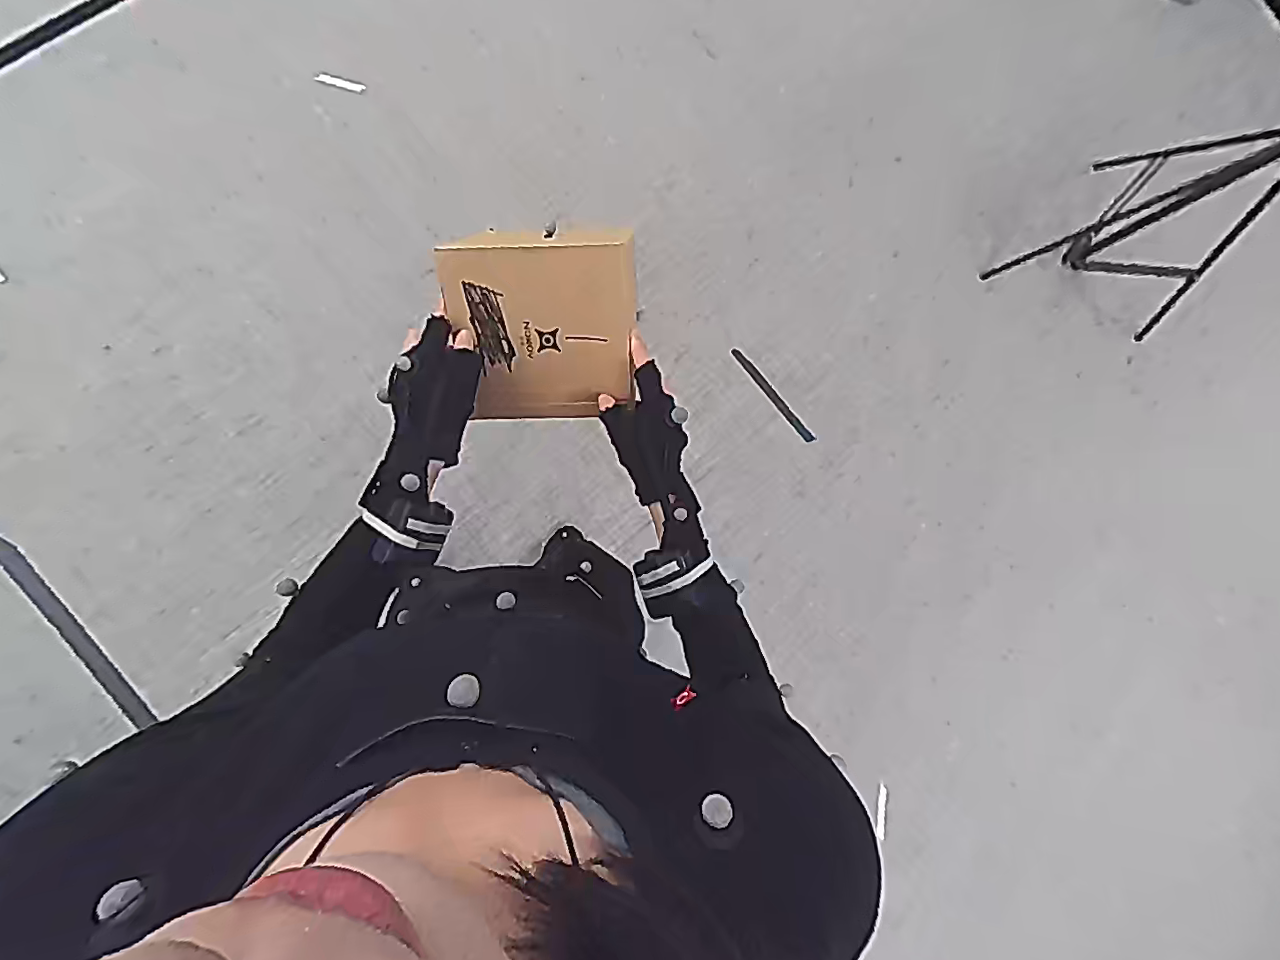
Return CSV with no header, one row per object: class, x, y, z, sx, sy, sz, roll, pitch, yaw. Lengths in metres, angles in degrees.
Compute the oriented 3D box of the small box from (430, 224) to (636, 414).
small box,-0.096,-0.178,0.581,0.179,0.176,0.168,-1,119,2
